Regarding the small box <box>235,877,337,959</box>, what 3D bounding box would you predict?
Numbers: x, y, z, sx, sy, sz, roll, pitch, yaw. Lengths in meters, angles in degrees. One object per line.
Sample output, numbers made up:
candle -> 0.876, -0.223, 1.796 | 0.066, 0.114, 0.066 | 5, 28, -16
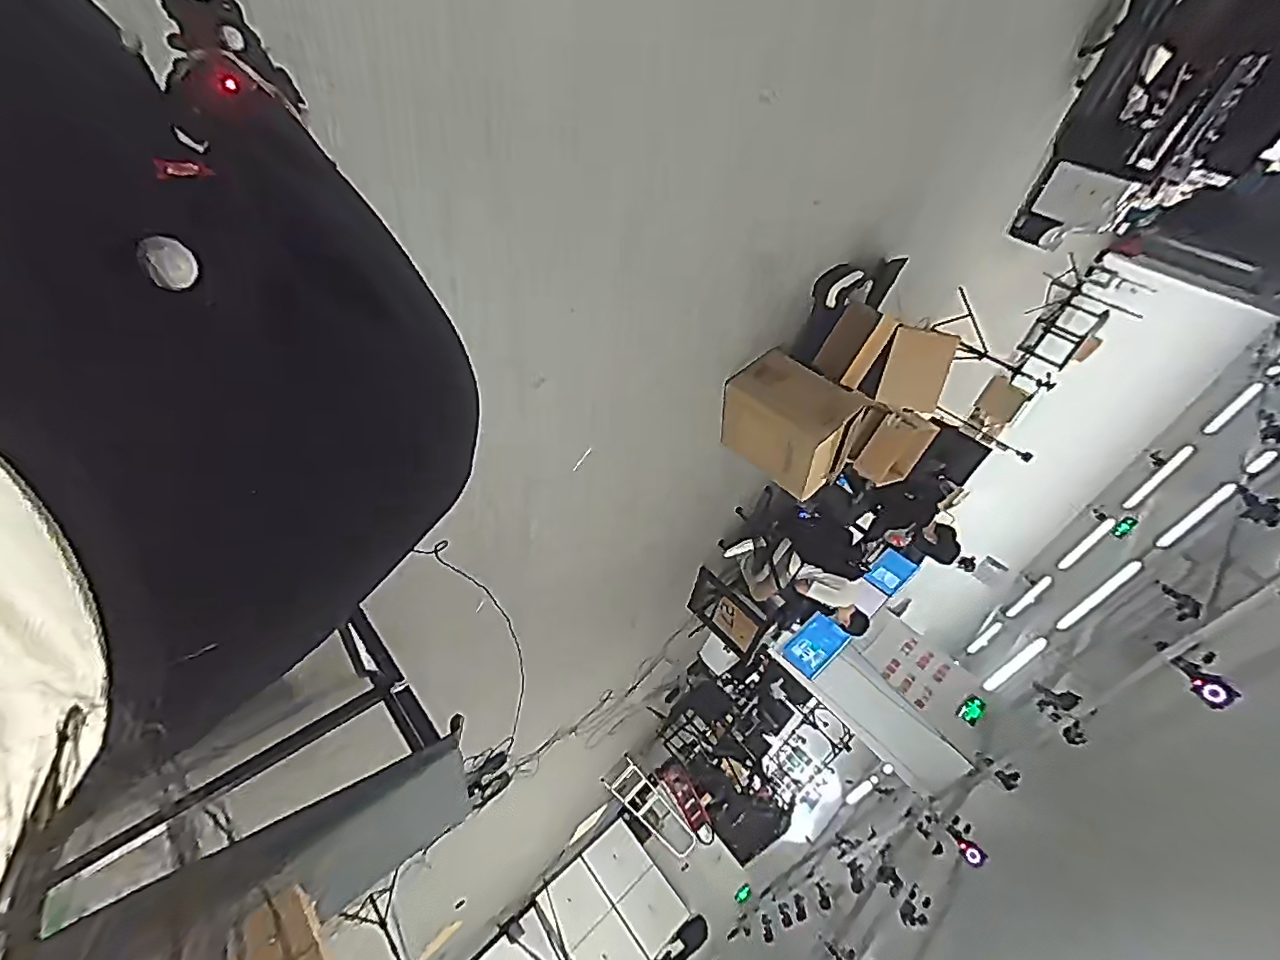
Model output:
small box -> -0.933, 1.206, 1.426 | 0.179, 0.176, 0.168 | -28, 145, -32

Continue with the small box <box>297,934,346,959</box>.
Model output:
small box -> -0.821, 1.296, 1.347 | 0.179, 0.176, 0.168 | -25, 144, -37
